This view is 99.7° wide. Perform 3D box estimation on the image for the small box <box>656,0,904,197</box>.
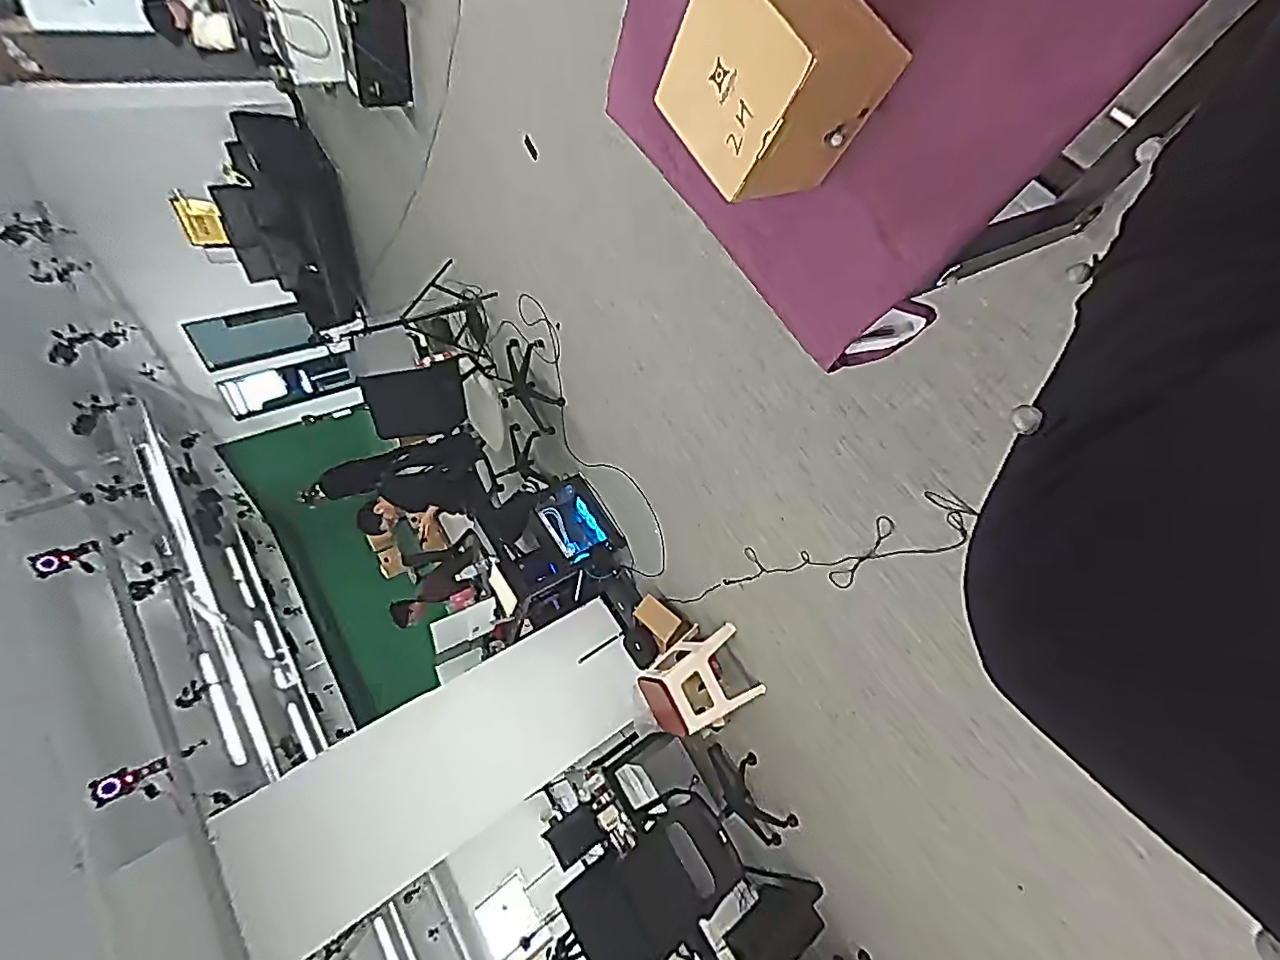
[{"bbox_3d":[0.153,-0.461,0.619,0.179,0.176,0.168,58,151,10],"label":"small box"}]
